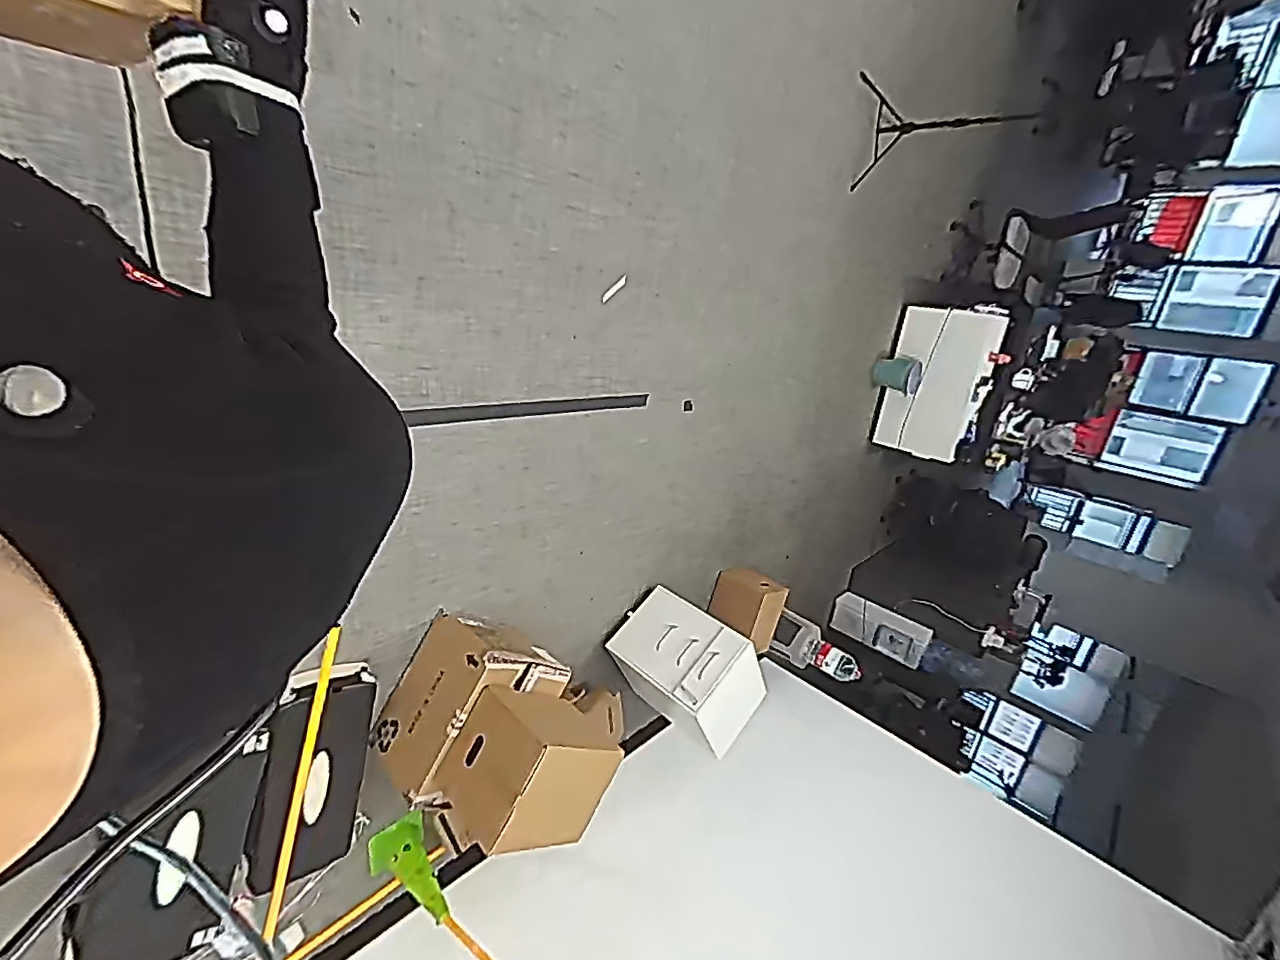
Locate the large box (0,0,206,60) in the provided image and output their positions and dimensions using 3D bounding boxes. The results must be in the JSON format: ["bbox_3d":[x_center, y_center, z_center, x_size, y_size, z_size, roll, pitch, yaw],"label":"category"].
[{"bbox_3d":[-0.535,-0.477,0.274,0.408,0.320,0.320,-18,125,-47],"label":"large box"}]
